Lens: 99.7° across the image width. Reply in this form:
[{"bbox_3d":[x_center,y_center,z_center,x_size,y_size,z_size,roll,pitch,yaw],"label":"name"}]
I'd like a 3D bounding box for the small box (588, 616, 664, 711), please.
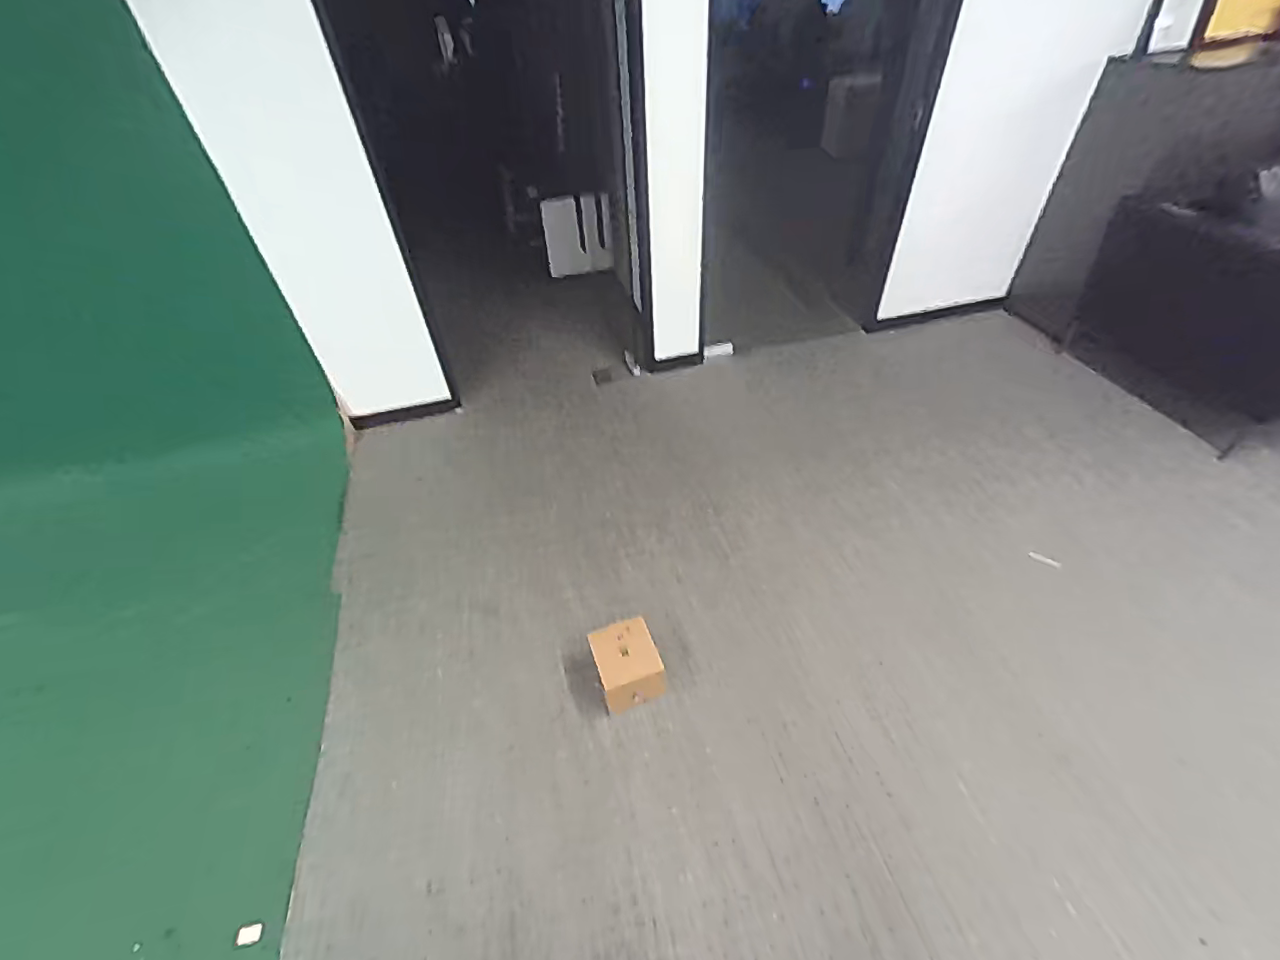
[{"bbox_3d":[-0.035,0.518,1.507,0.168,0.176,0.179,-16,46,-13],"label":"small box"}]
